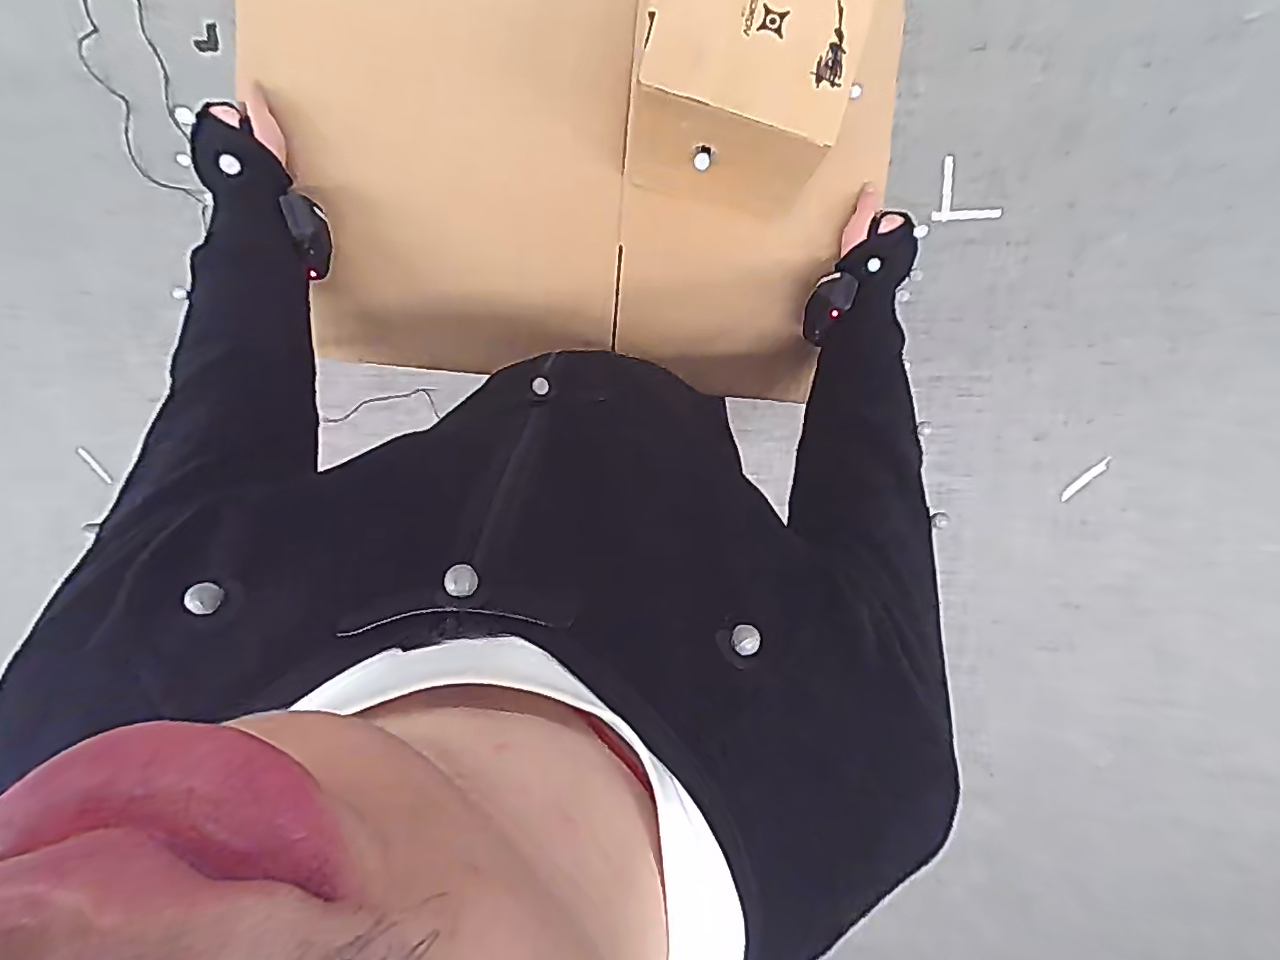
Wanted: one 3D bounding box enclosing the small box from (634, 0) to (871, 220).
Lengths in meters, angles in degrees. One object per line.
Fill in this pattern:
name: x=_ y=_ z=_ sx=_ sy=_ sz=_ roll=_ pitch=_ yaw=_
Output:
small box: x=0.097 y=-0.387 z=0.534 sx=0.179 sy=0.176 sz=0.168 roll=16 pitch=93 yaw=-3
